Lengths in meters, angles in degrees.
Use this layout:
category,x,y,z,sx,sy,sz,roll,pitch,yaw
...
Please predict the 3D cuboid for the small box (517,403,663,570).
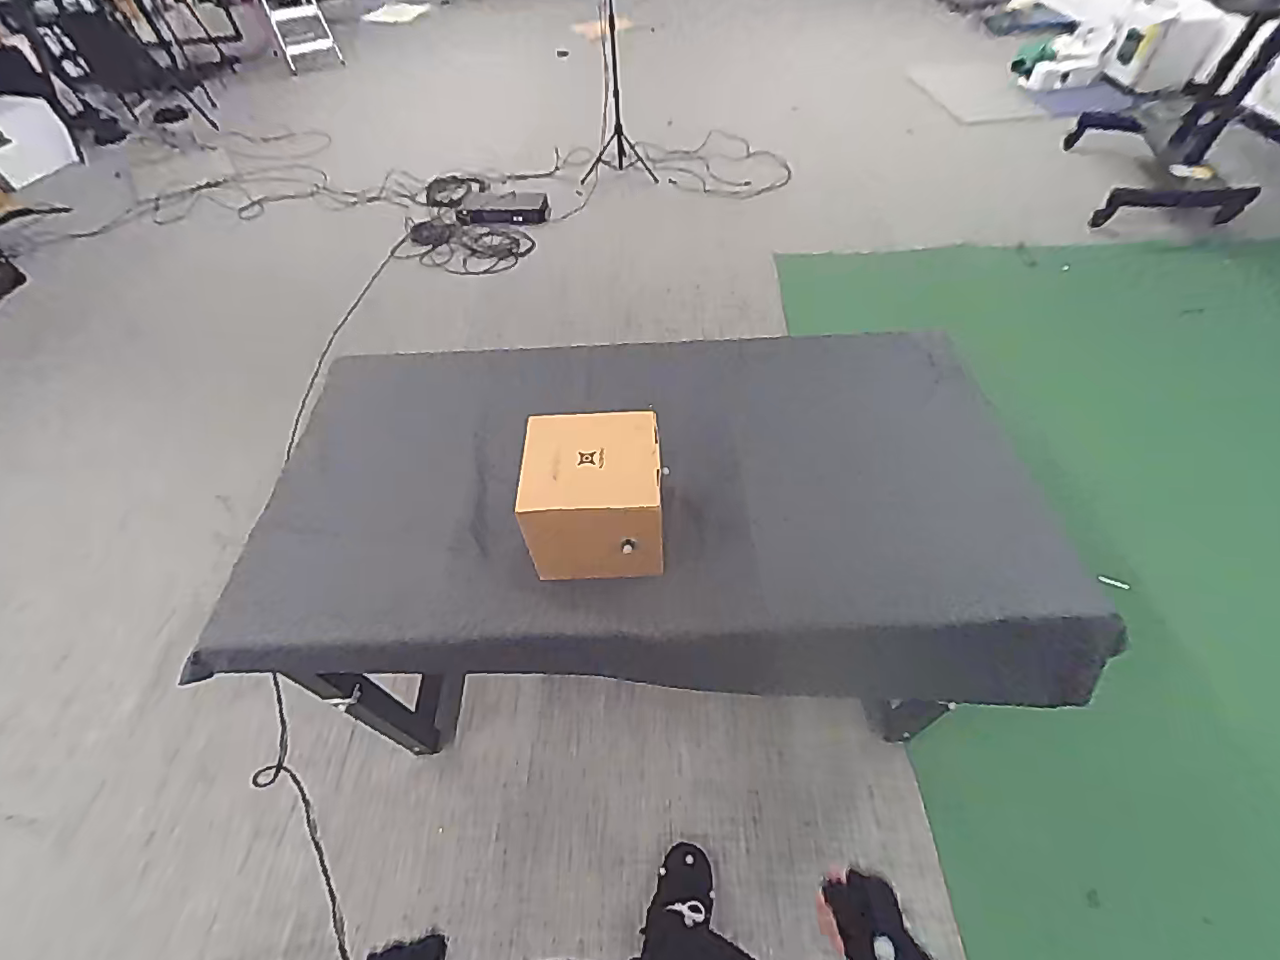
category,x,y,z,sx,sy,sz,roll,pitch,yaw
small box,-0.058,0.013,0.754,0.179,0.176,0.168,-4,51,2
